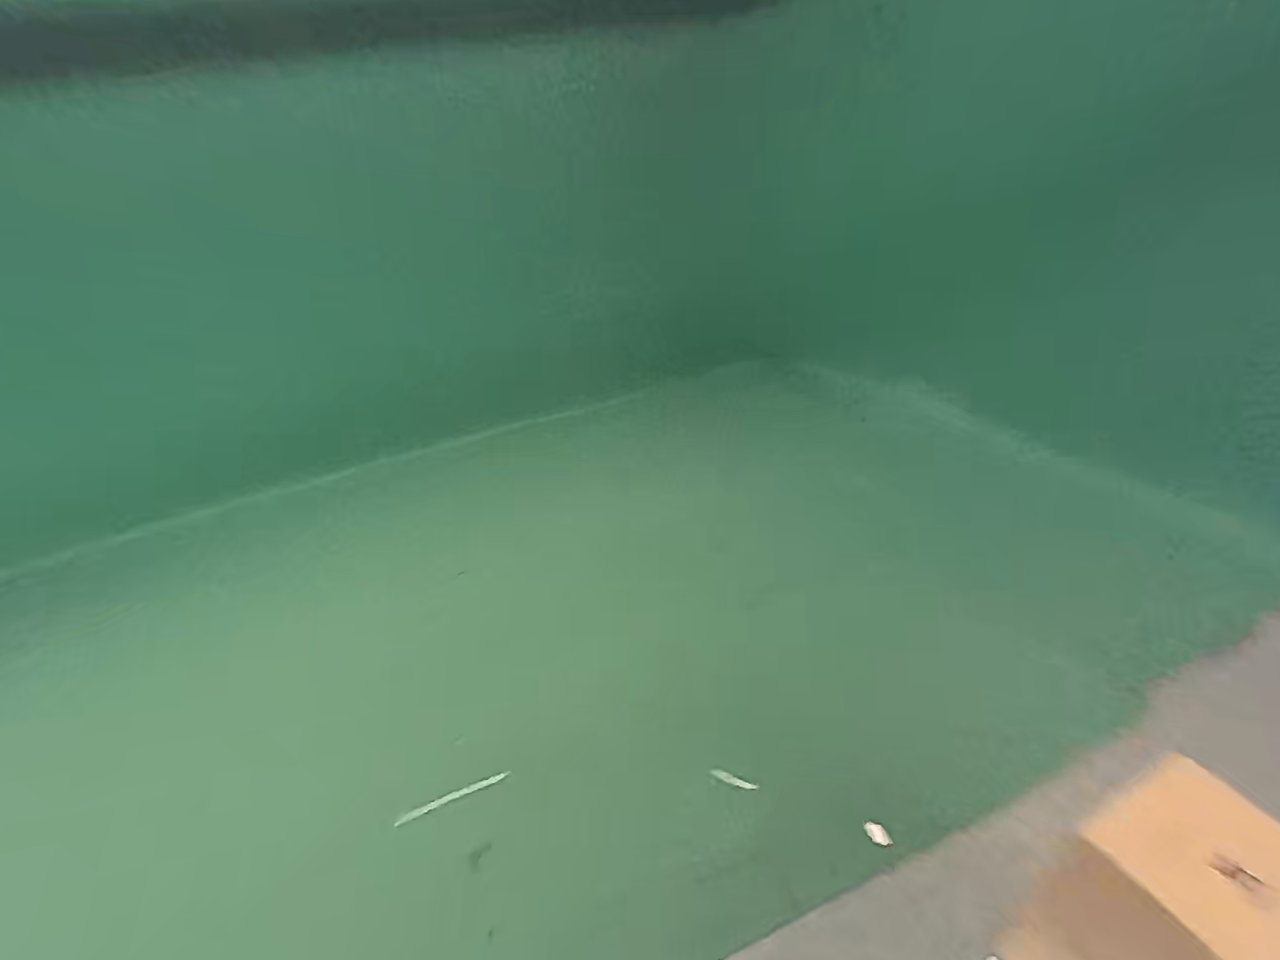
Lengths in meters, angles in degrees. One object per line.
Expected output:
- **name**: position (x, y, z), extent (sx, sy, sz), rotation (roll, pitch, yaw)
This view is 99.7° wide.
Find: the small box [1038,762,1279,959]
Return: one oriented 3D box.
- **small box**: position (0.541, 0.426, 0.522), extent (0.168, 0.176, 0.179), rotation (-18, 34, -17)
